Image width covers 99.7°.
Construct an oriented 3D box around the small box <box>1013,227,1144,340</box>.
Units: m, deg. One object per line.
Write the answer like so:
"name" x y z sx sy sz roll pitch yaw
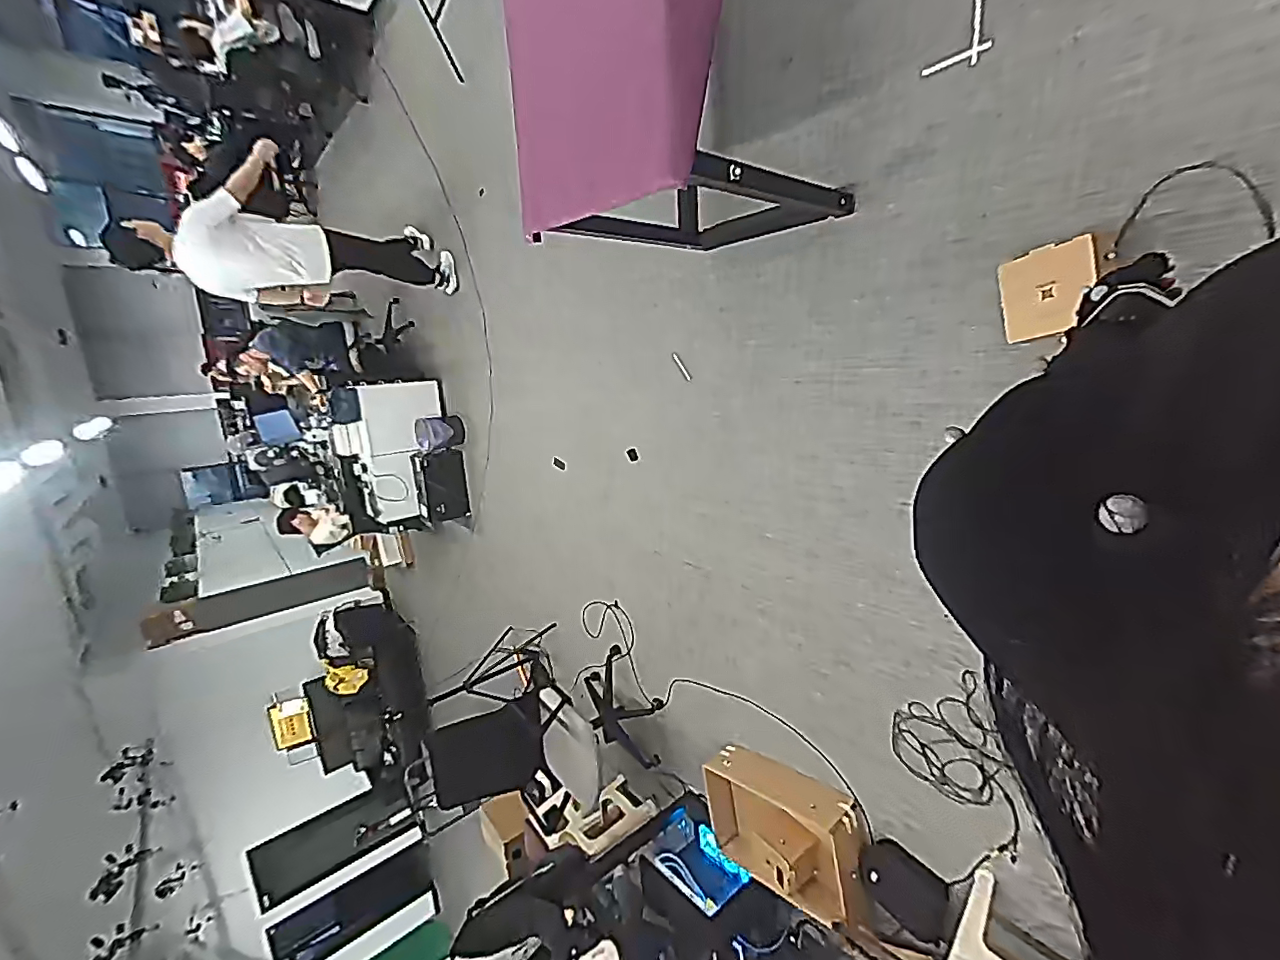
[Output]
"small box" 0.917 -0.401 1.132 0.168 0.176 0.179 -7 95 56
